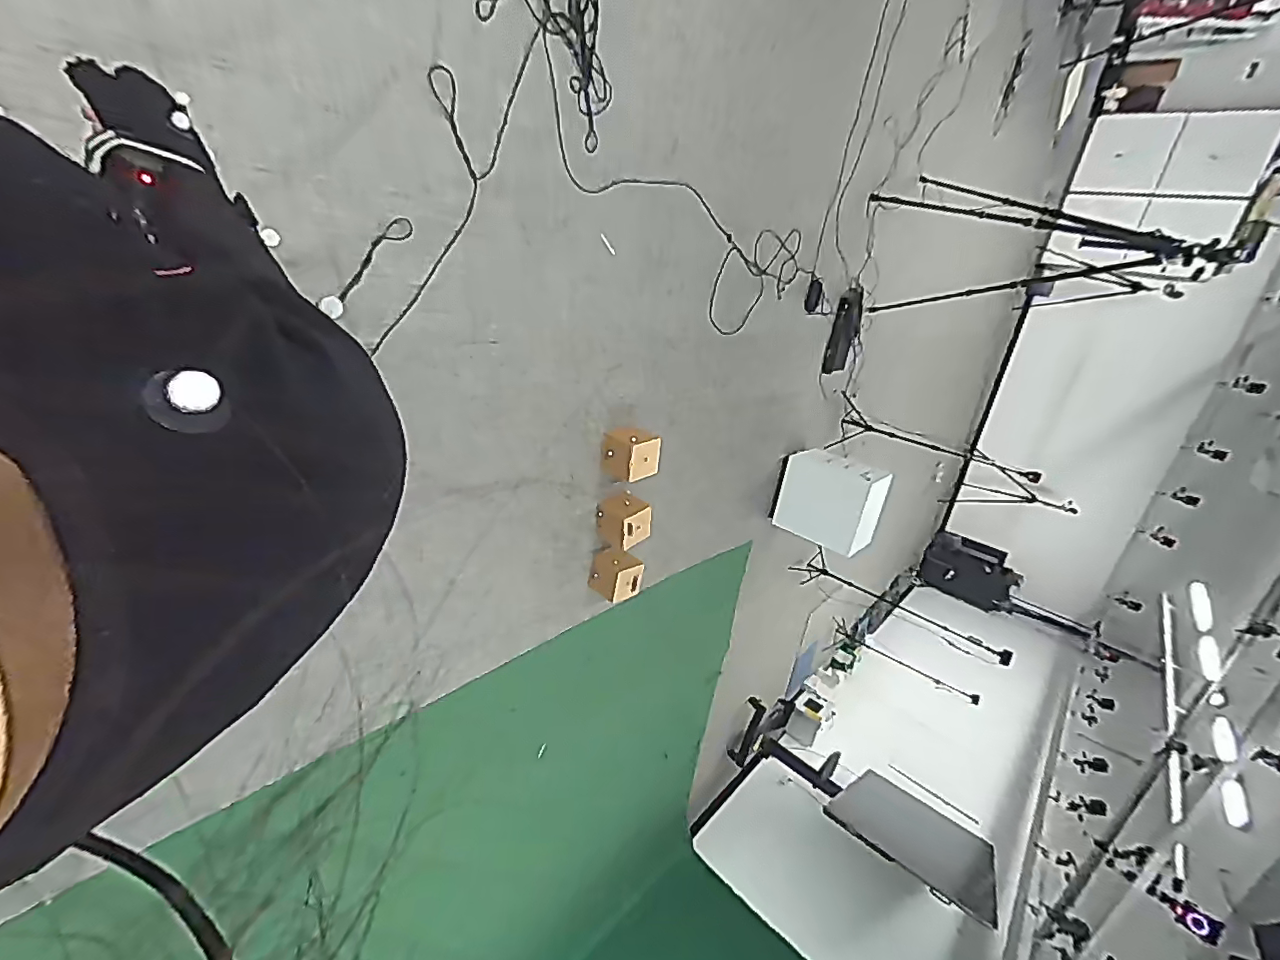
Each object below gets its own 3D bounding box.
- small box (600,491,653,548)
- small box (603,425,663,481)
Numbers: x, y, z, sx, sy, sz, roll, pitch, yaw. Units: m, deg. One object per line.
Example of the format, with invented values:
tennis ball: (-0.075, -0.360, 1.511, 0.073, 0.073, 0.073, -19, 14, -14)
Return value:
small box: (-0.062, 0.169, 2.390, 0.179, 0.176, 0.168, -26, 129, -41)
small box: (-0.030, -0.119, 2.260, 0.179, 0.176, 0.168, -20, 125, -42)
